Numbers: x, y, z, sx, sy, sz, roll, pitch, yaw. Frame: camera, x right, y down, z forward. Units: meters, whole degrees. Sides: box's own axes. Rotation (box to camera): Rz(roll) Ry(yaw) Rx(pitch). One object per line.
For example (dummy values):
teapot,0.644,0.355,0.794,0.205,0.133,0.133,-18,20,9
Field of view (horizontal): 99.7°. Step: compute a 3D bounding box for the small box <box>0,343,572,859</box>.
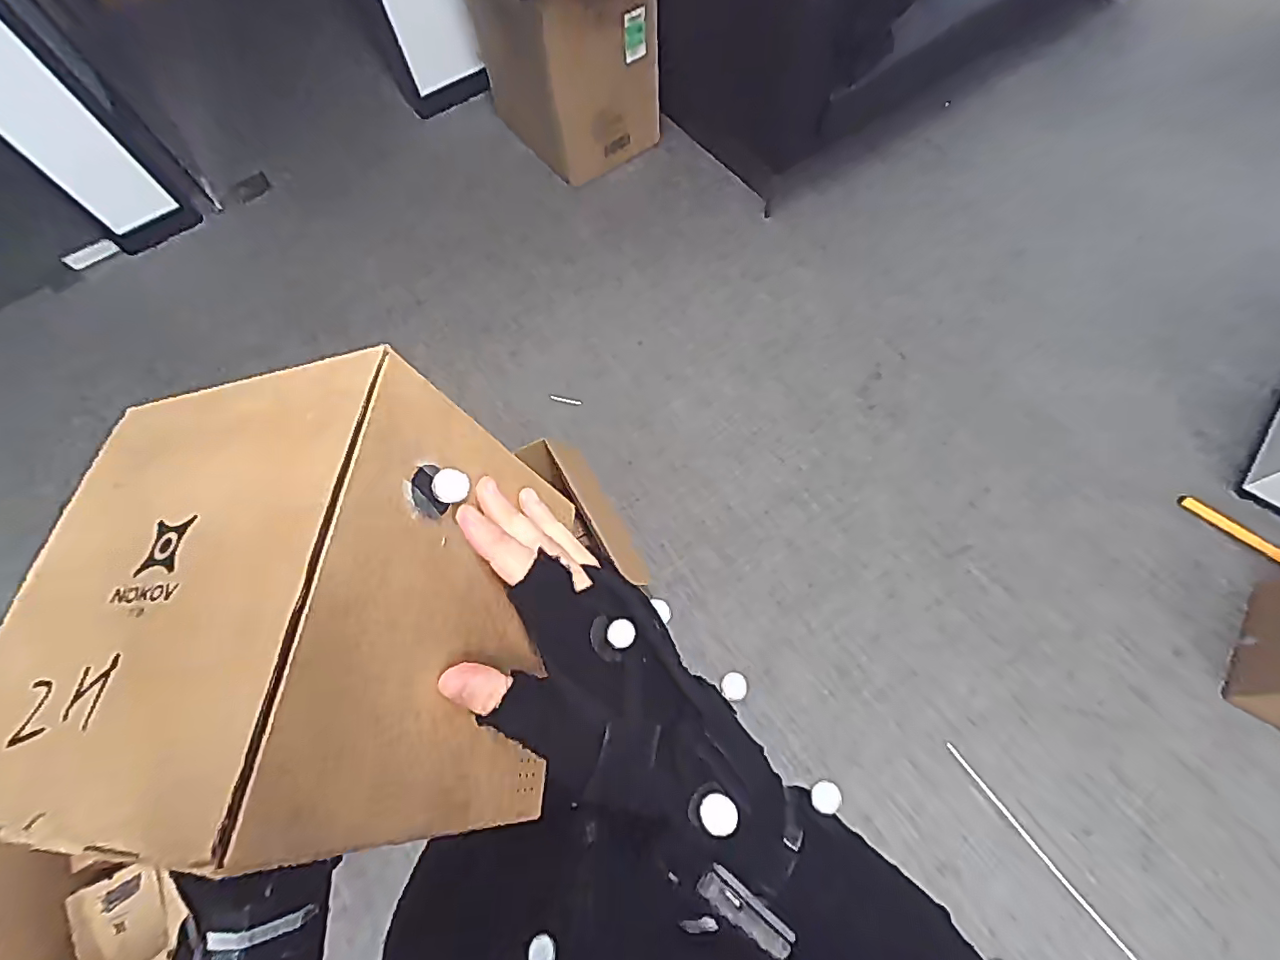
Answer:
small box,-0.147,0.064,0.271,0.168,0.176,0.179,-6,63,20
